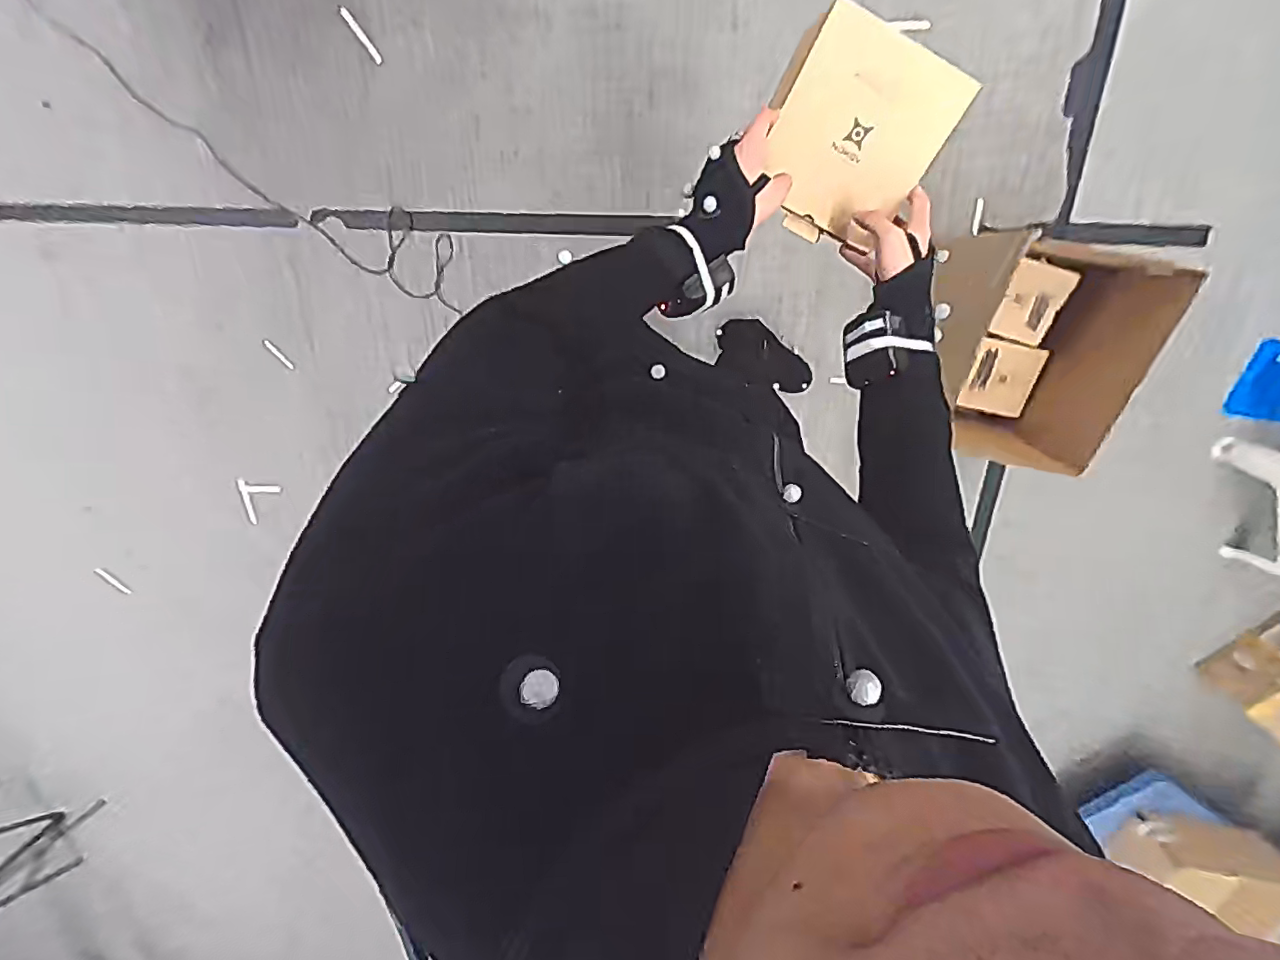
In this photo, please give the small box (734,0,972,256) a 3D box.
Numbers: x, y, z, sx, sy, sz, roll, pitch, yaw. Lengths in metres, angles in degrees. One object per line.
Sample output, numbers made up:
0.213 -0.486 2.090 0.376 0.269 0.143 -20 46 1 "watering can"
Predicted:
0.217 -0.385 0.612 0.168 0.176 0.179 23 120 -9 "small box"
